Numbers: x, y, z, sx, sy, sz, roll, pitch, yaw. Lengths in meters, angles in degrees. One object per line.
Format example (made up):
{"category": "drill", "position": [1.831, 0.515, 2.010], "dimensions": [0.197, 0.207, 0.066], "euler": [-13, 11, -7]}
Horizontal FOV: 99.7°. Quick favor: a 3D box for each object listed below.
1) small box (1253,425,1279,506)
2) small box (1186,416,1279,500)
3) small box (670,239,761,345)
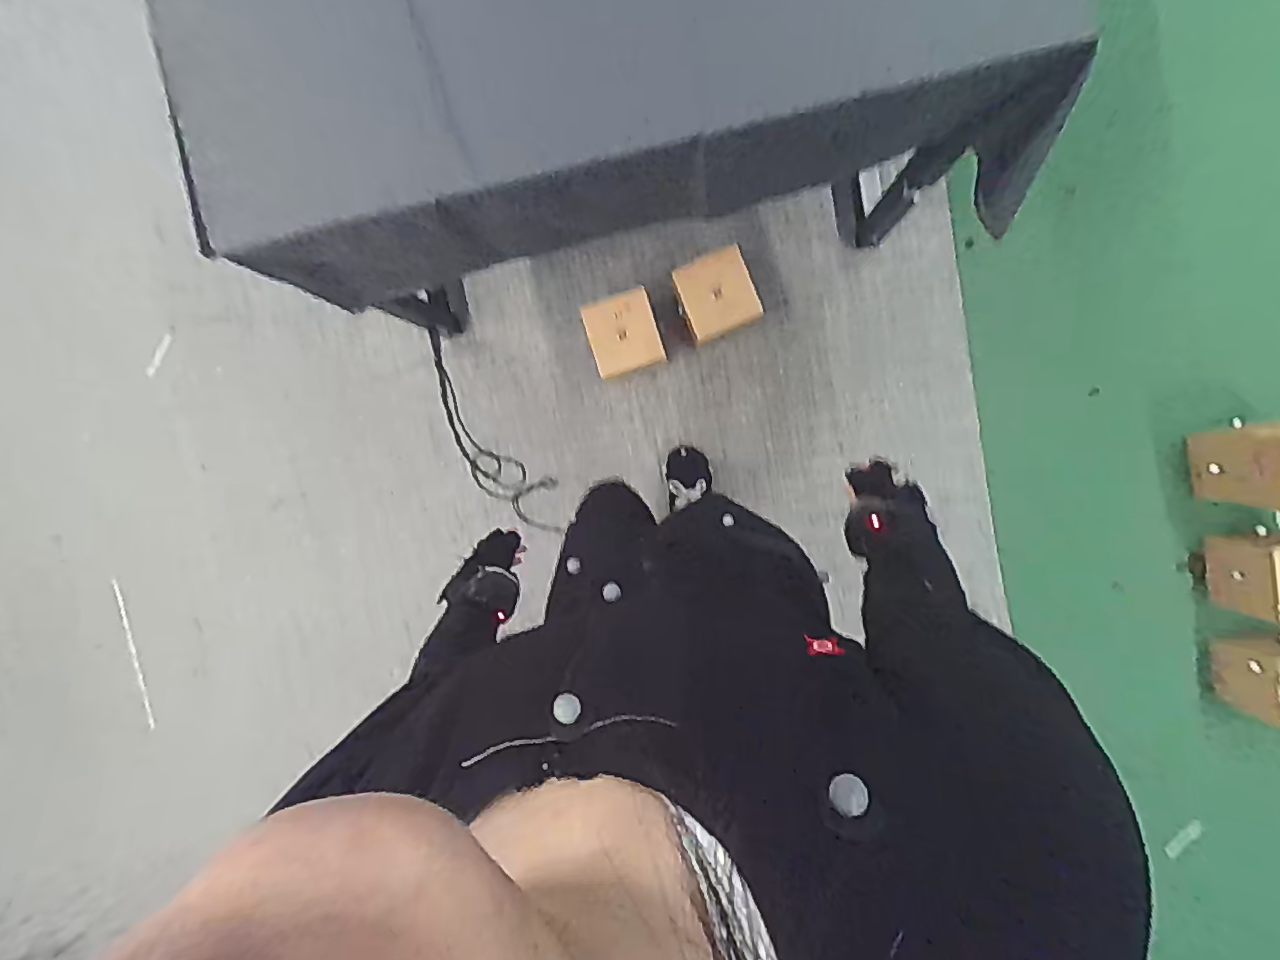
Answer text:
{"category": "small box", "position": [1.416, -0.037, 1.093], "dimensions": [0.168, 0.176, 0.179], "euler": [-13, 94, 6]}
{"category": "small box", "position": [1.429, -0.054, 1.255], "dimensions": [0.179, 0.176, 0.168], "euler": [-11, 94, 7]}
{"category": "small box", "position": [0.181, -0.454, 1.332], "dimensions": [0.168, 0.176, 0.179], "euler": [-22, 92, 7]}
